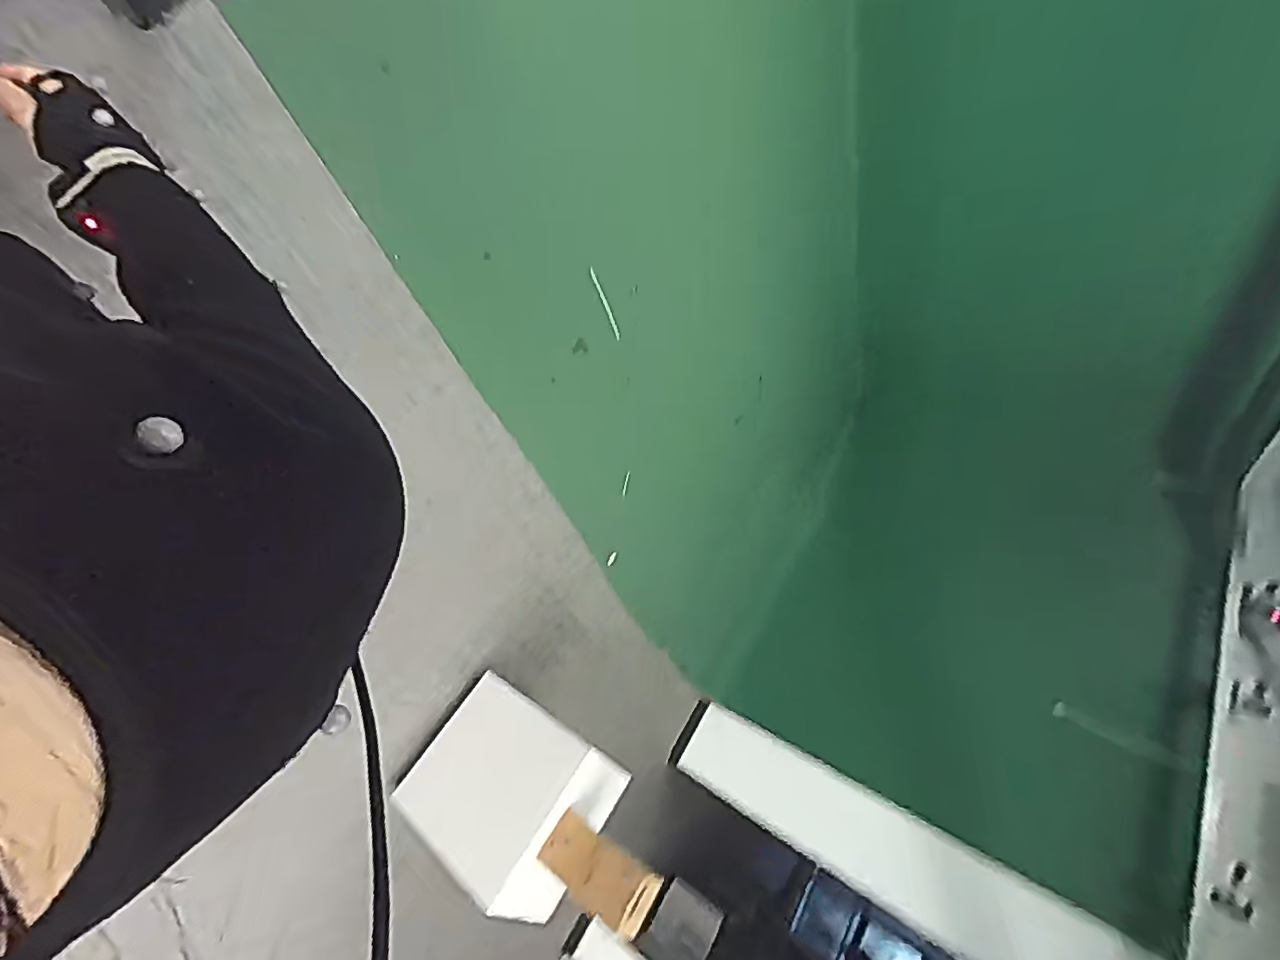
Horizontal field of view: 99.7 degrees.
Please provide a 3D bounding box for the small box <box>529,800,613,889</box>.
[{"bbox_3d":[-0.219,1.162,1.729,0.168,0.176,0.179,-52,142,-26],"label":"small box"}]
